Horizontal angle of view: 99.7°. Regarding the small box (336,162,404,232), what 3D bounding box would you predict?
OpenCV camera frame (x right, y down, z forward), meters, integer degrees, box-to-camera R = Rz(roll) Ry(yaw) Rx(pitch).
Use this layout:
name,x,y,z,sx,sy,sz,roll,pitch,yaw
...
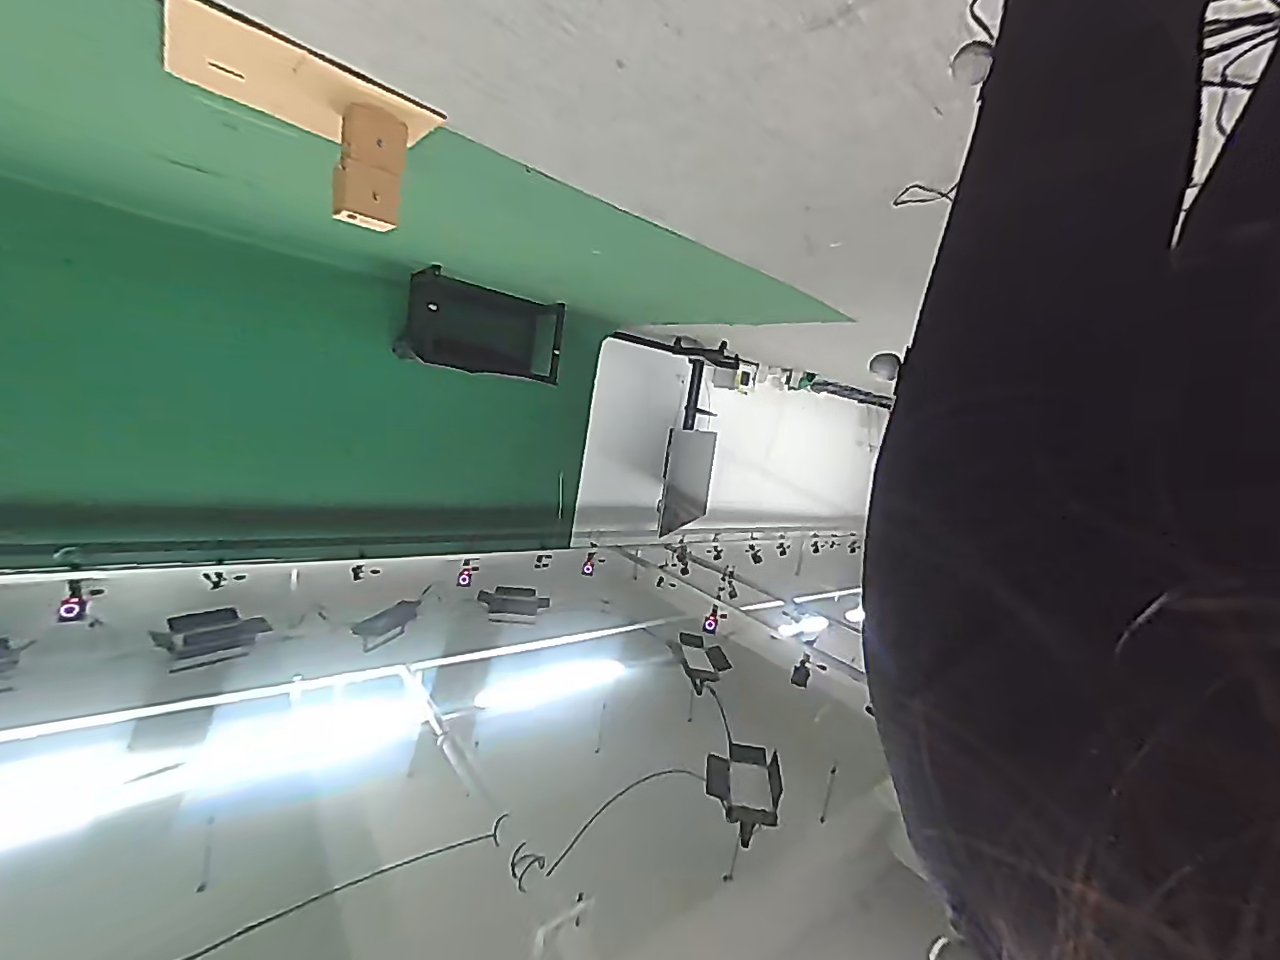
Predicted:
name,x,y,z,sx,sy,sz,roll,pitch,yaw
small box,-0.948,-0.994,1.898,0.179,0.176,0.168,-1,-168,-44
